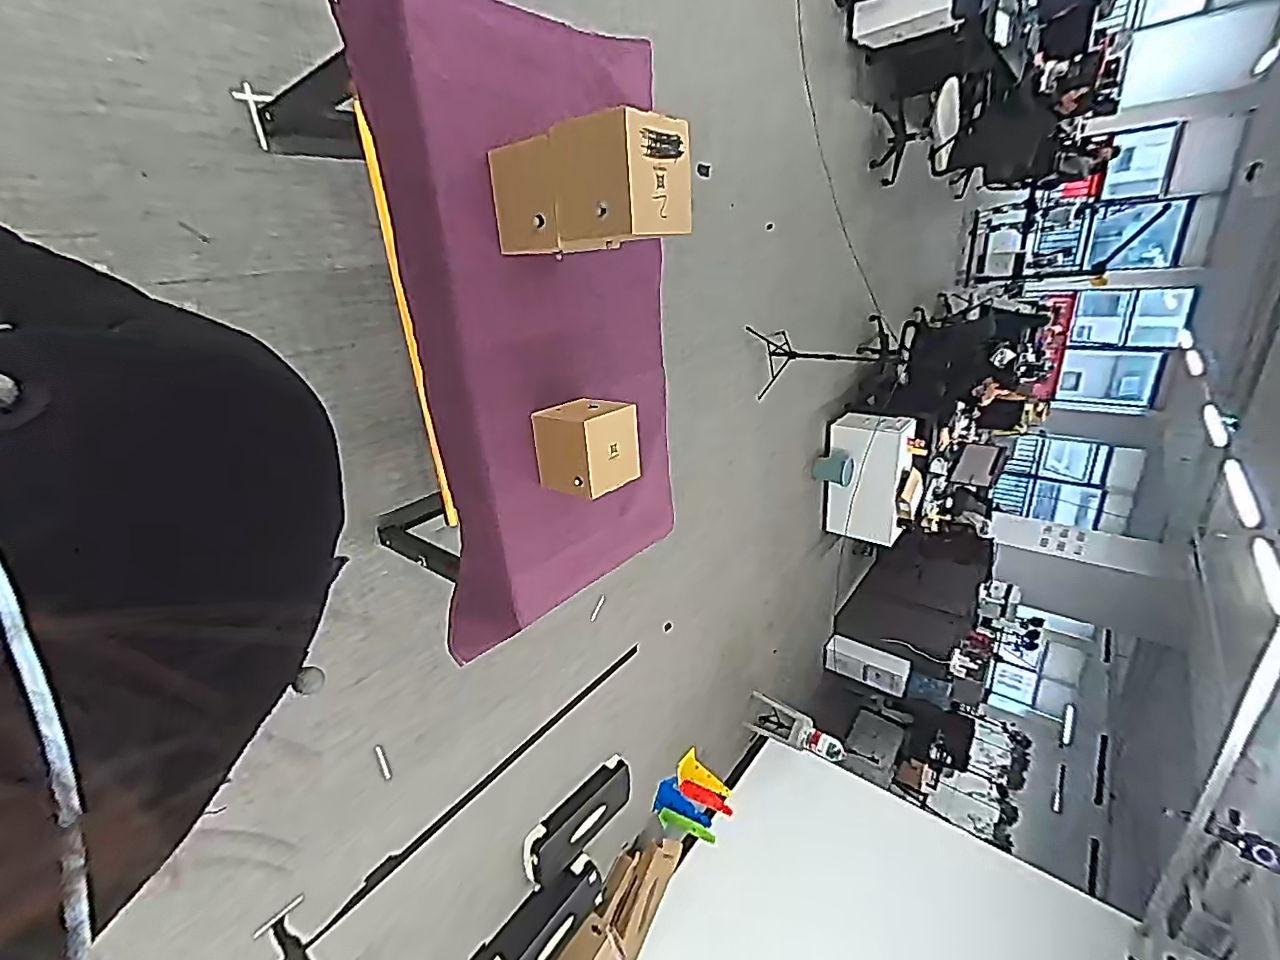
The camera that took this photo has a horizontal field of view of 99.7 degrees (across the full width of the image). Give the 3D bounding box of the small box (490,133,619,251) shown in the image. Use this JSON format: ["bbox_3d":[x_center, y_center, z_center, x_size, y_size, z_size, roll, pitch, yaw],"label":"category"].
[{"bbox_3d":[-0.160,-0.529,1.020,0.168,0.176,0.179,-26,121,-45],"label":"small box"}]

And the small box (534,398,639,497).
[{"bbox_3d":[-0.120,-0.082,1.213,0.168,0.176,0.179,-27,122,-45],"label":"small box"}]
